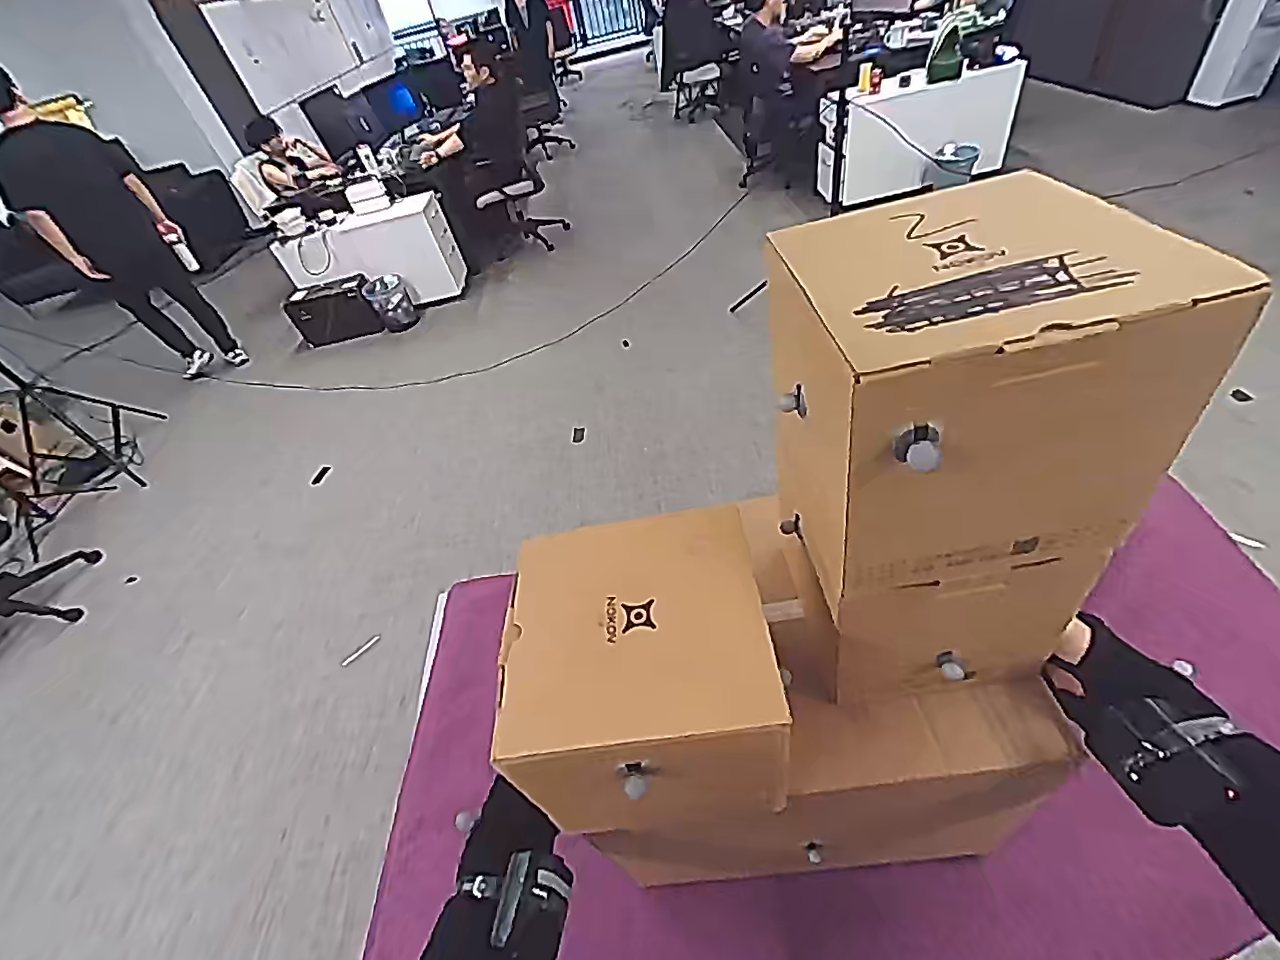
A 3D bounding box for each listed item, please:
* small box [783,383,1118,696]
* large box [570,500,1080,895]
[{"bbox_3d":[0.220,0.050,0.446,0.168,0.176,0.179,-12,43,6],"label":"small box"},{"bbox_3d":[0.158,0.243,0.625,0.408,0.320,0.320,-12,42,5],"label":"large box"}]
